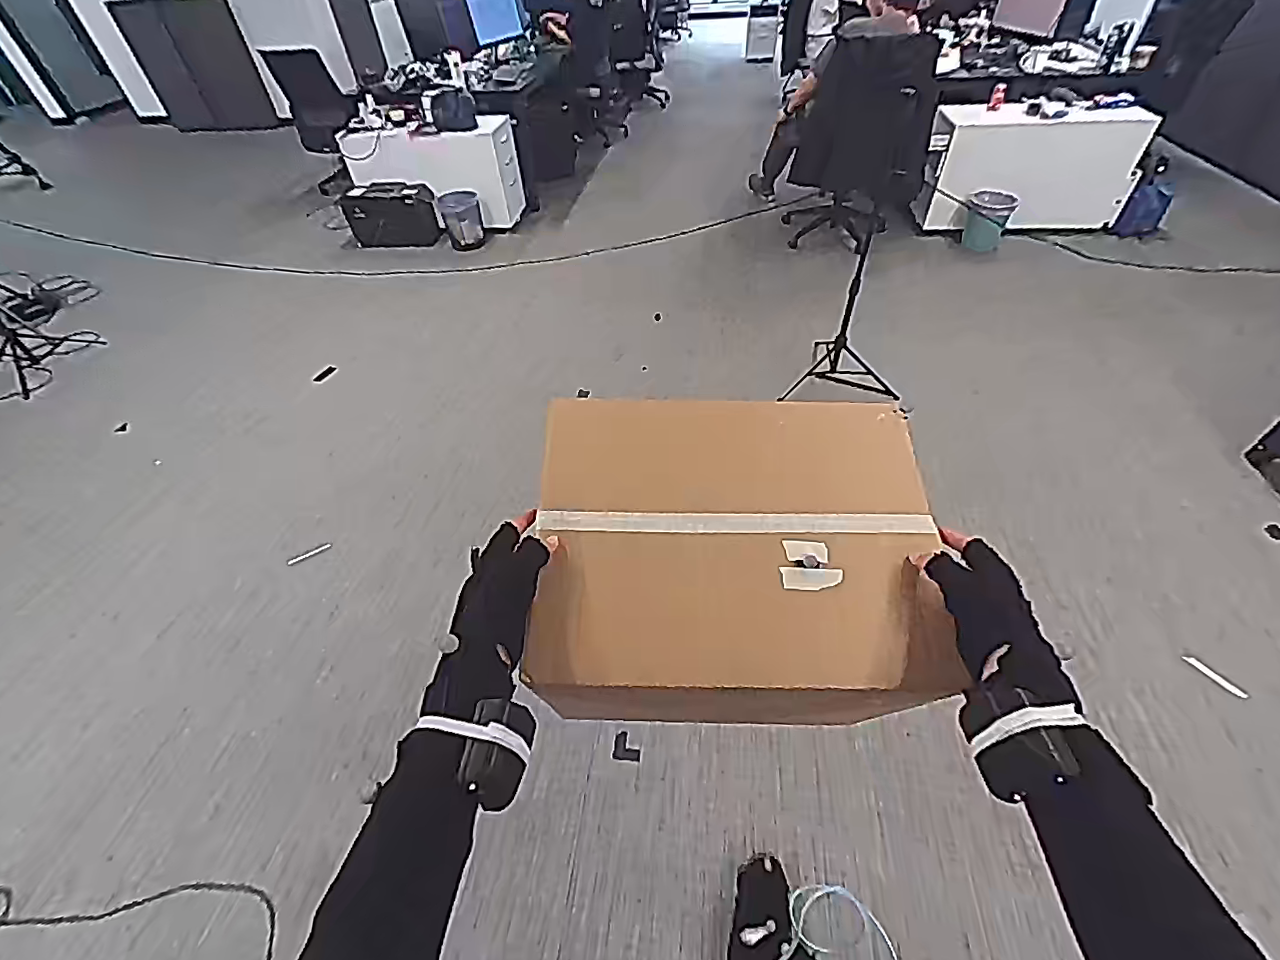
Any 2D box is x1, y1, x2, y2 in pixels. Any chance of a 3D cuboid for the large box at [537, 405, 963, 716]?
[{"bbox_3d":[0.099,0.119,0.696,0.408,0.320,0.320,1,61,0],"label":"large box"}]
